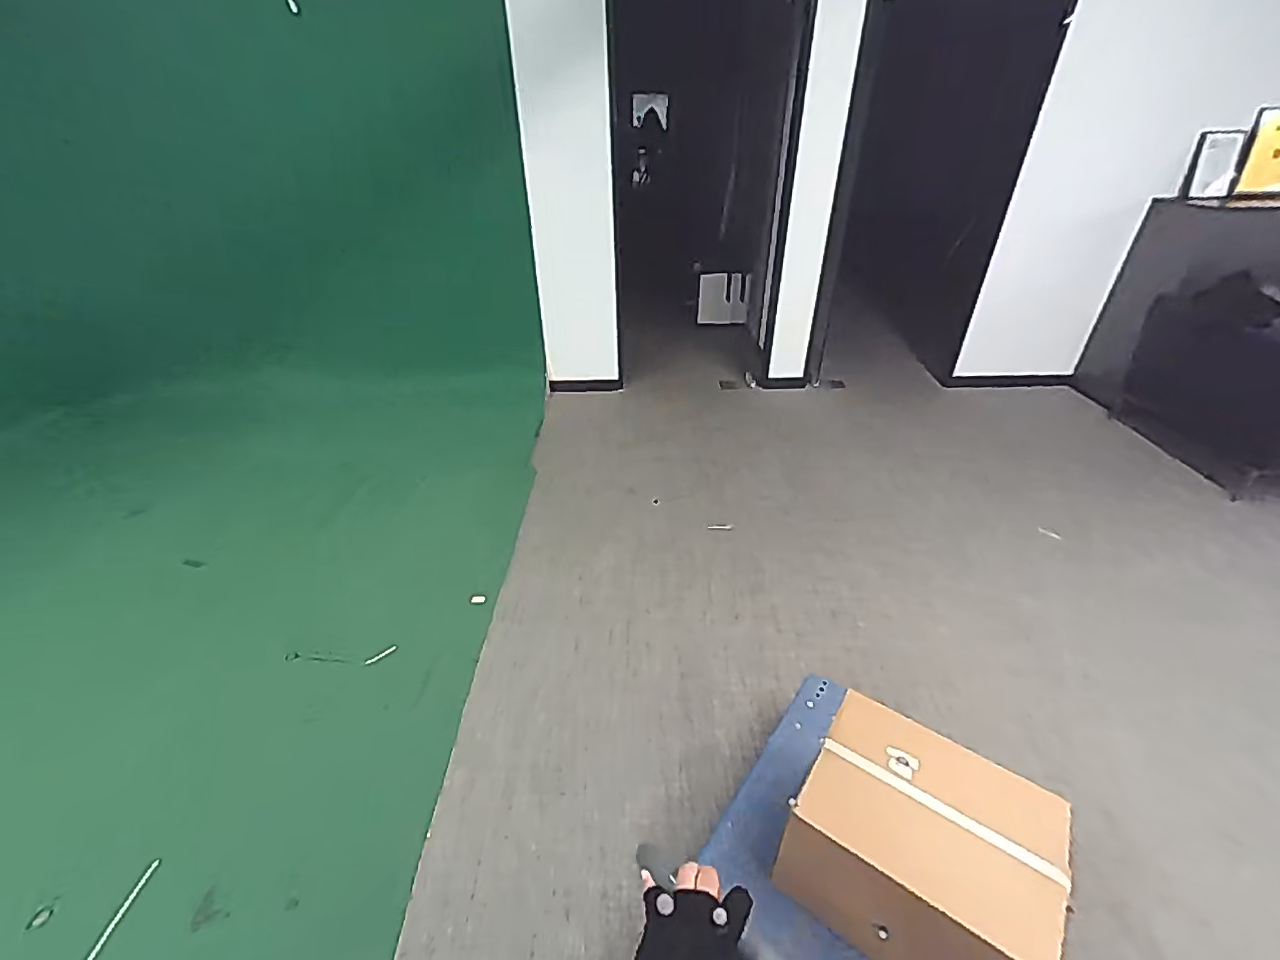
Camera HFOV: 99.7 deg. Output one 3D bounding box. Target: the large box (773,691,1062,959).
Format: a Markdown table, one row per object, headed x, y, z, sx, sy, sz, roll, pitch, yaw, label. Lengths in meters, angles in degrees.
| x | y | z | sx | sy | sz | roll | pitch | yaw | label |
| --- | --- | --- | --- | --- | --- | --- | --- | --- | --- |
| 0.519 | 0.709 | 1.055 | 0.408 | 0.320 | 0.320 | 21 | 39 | 31 | large box |
